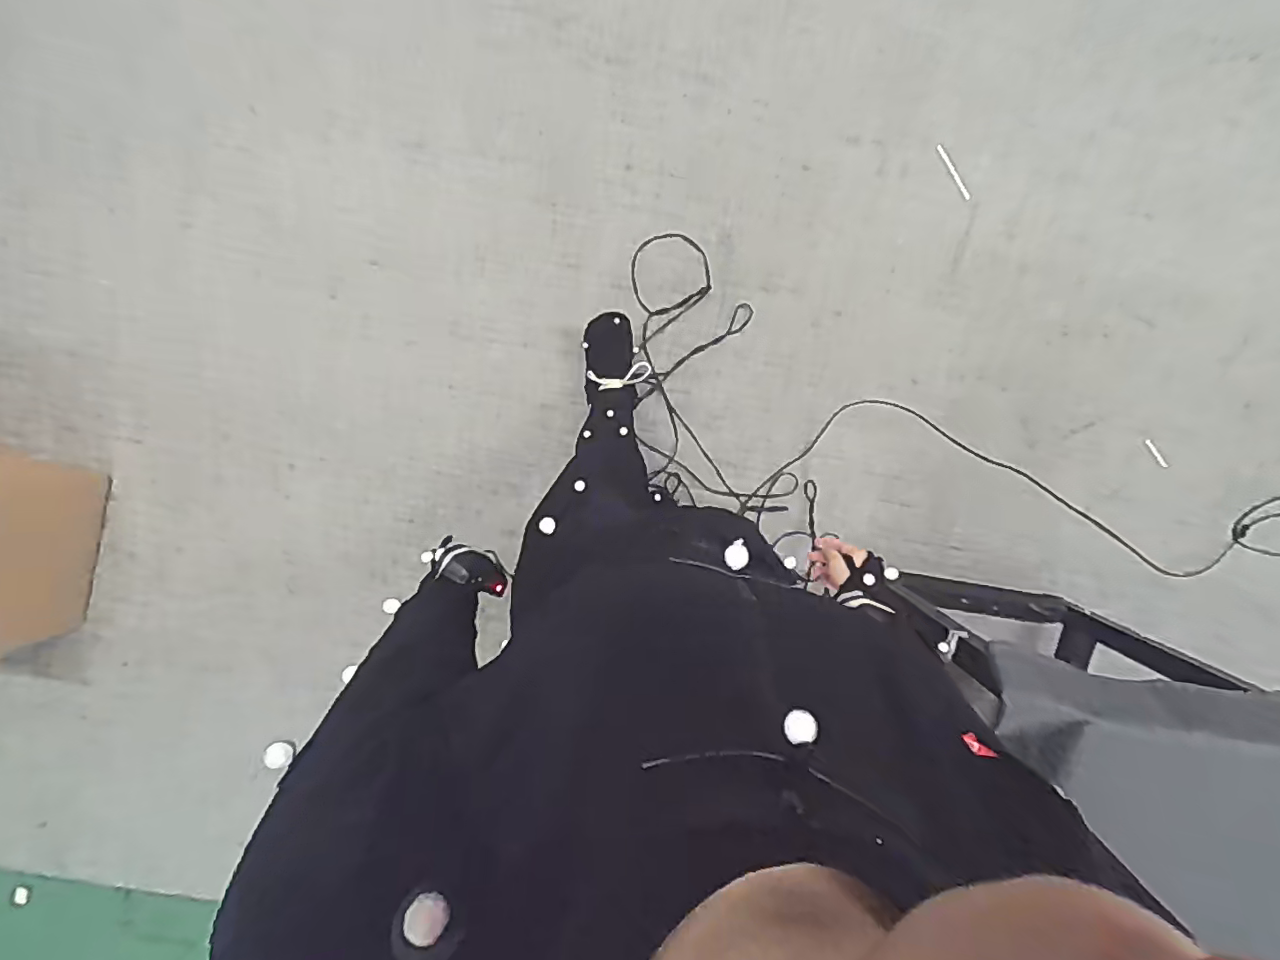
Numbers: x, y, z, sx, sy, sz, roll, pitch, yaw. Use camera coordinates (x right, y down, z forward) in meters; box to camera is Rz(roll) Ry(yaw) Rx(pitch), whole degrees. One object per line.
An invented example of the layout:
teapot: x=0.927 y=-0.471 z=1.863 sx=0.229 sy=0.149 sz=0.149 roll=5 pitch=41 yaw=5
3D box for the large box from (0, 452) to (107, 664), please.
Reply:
large box: x=-1.473 y=0.170 z=1.168 sx=0.320 sy=0.320 sz=0.408 roll=17 pitch=96 yaw=-5
